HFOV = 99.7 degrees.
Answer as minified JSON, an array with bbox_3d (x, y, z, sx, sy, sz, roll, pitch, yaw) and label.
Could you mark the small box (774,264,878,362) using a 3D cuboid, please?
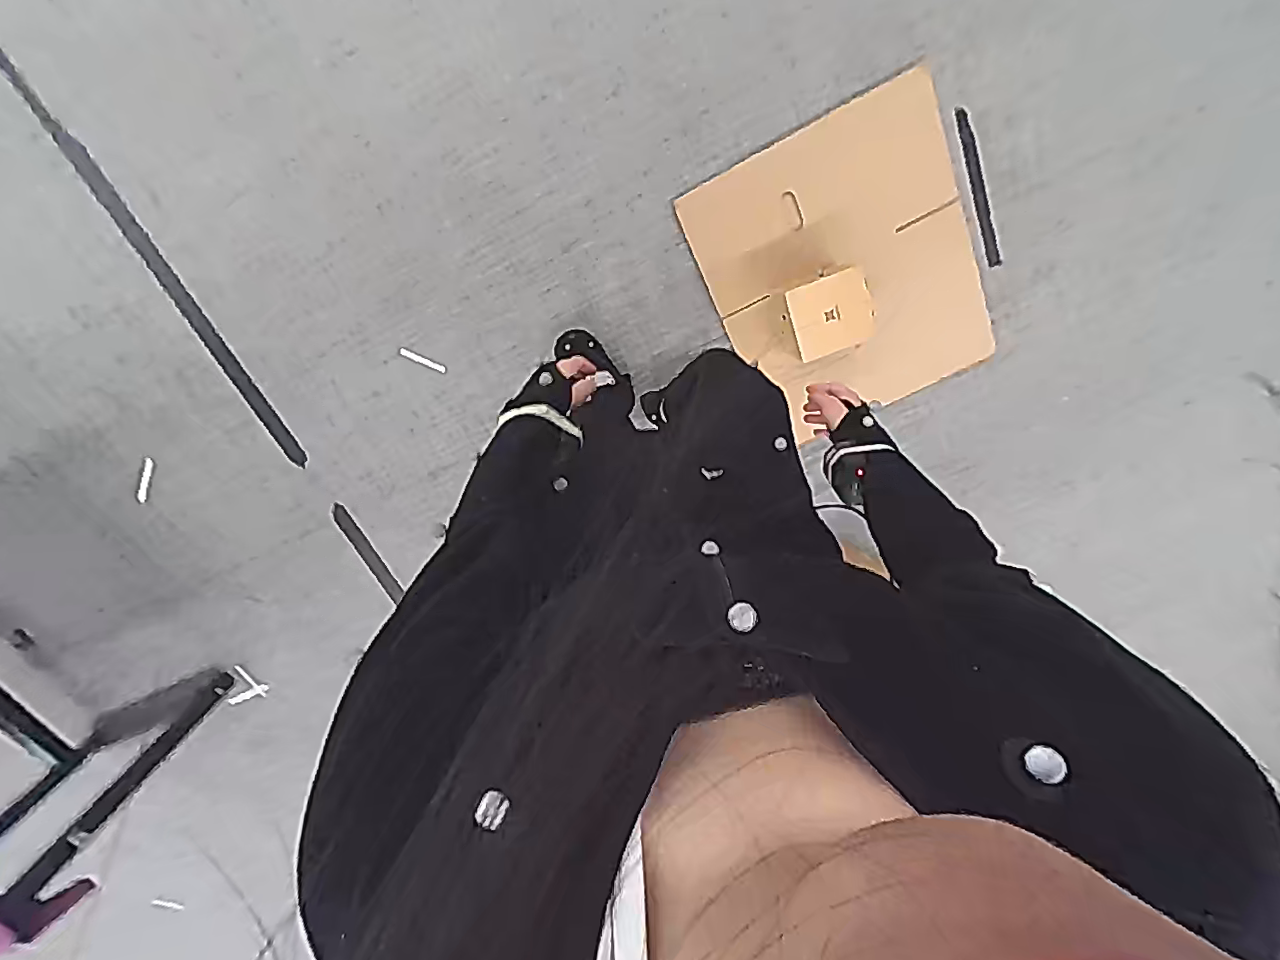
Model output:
[{"bbox_3d":[0.426,-0.391,1.269,0.179,0.176,0.168,-19,109,7],"label":"small box"}]
